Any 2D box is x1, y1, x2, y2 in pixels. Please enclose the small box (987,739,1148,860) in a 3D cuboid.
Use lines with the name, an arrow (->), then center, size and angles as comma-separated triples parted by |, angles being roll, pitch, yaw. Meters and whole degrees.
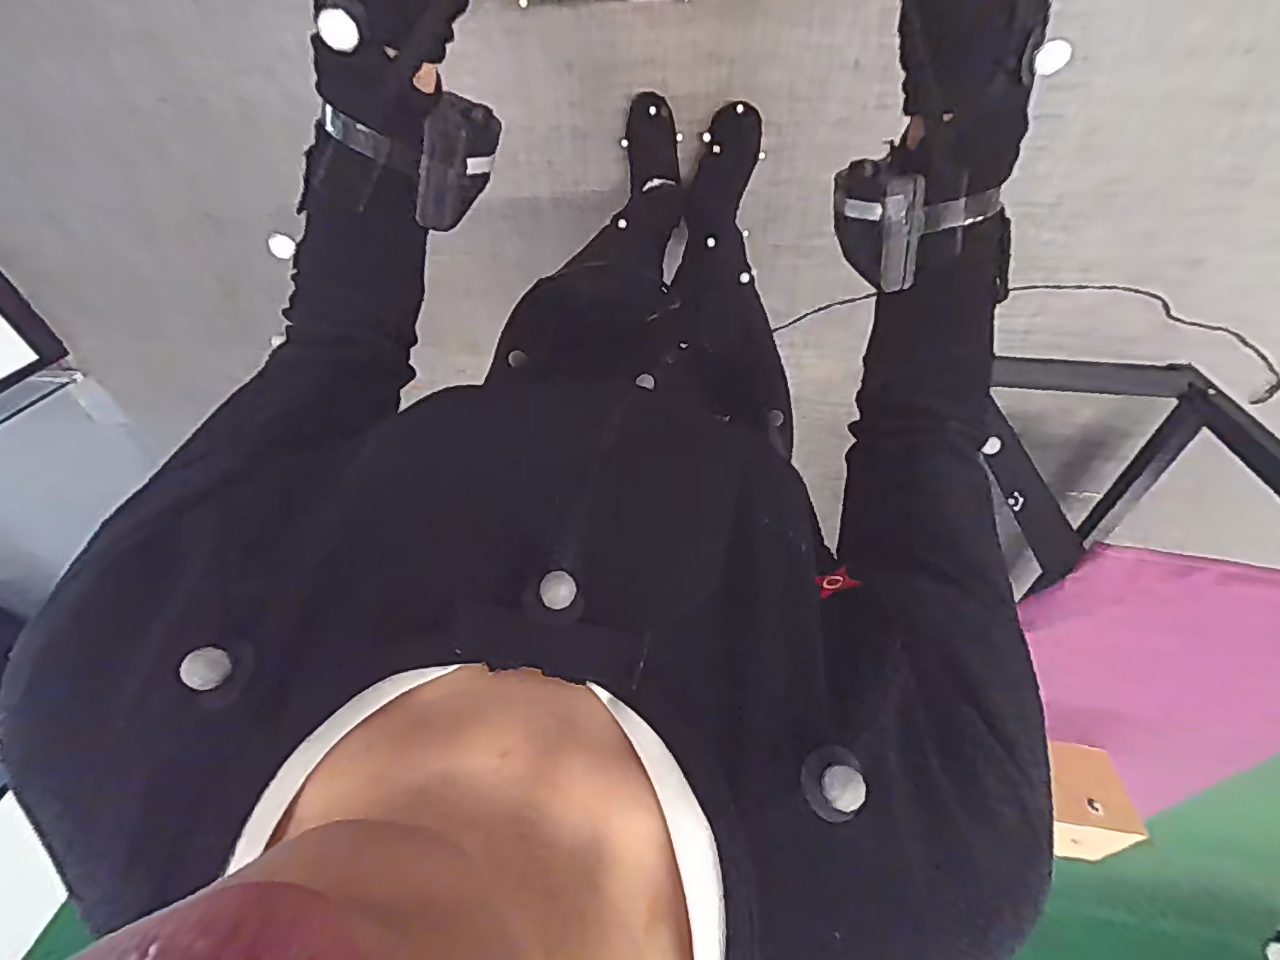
small box -> 0.878, 0.666, 1.132 | 0.179, 0.176, 0.168 | 8, 132, 4
